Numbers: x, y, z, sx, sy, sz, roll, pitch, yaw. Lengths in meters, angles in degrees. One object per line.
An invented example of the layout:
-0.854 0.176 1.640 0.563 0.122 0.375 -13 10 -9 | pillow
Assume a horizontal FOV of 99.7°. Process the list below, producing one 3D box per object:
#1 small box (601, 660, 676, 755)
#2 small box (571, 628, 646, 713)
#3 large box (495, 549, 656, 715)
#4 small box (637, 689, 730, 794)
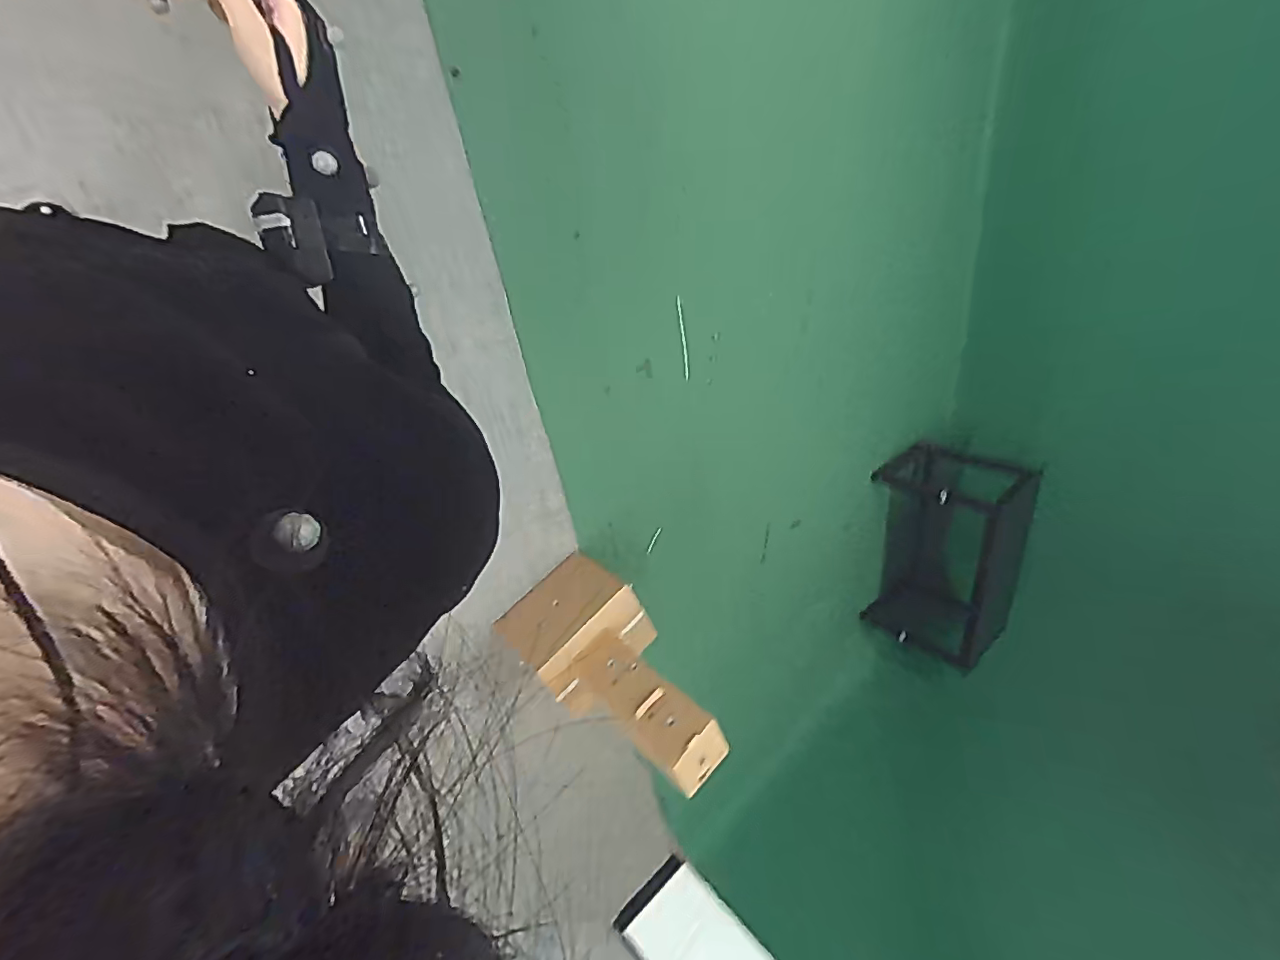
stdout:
0.010 0.664 1.606 0.168 0.176 0.179 -38 127 -24 | small box
-0.087 0.609 1.726 0.179 0.176 0.168 -39 127 -23 | small box
-0.224 0.522 1.912 0.408 0.320 0.320 -43 131 -22 | large box
0.118 0.709 1.490 0.168 0.176 0.179 -39 126 -23 | small box
